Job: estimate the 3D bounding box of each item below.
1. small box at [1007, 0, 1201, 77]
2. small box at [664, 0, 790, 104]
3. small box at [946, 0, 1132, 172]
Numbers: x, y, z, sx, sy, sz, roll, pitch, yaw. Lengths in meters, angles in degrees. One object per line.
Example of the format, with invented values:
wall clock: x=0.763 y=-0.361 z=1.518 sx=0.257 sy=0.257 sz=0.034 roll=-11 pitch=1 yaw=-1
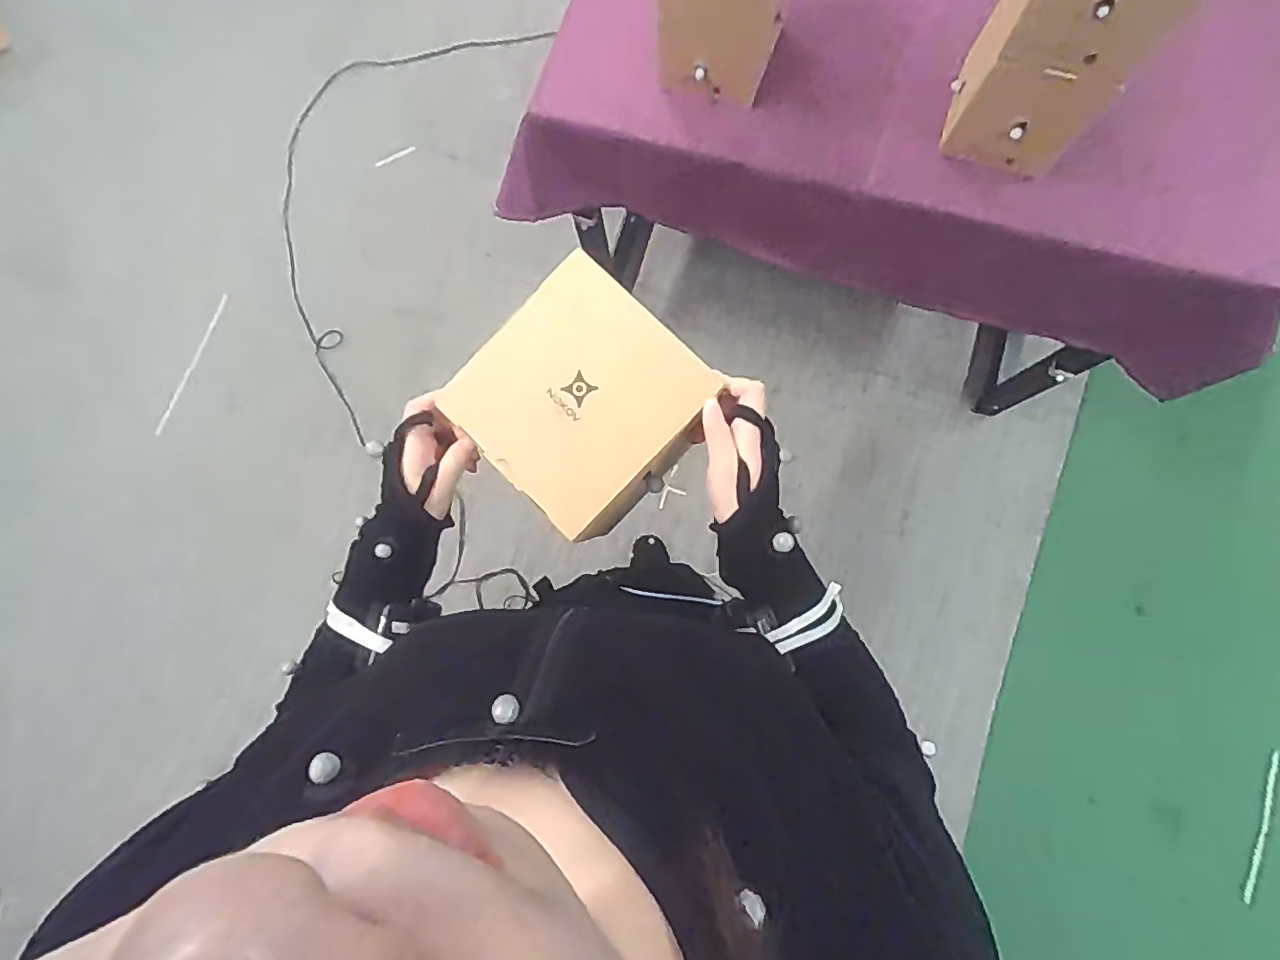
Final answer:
small box: x=0.567 y=-0.620 z=0.623 sx=0.168 sy=0.176 sz=0.179 roll=18 pitch=82 yaw=5
small box: x=0.138 y=-0.738 z=0.832 sx=0.168 sy=0.176 sz=0.179 roll=20 pitch=83 yaw=6
small box: x=0.579 y=-0.592 z=0.786 sx=0.168 sy=0.176 sz=0.179 roll=19 pitch=83 yaw=5
